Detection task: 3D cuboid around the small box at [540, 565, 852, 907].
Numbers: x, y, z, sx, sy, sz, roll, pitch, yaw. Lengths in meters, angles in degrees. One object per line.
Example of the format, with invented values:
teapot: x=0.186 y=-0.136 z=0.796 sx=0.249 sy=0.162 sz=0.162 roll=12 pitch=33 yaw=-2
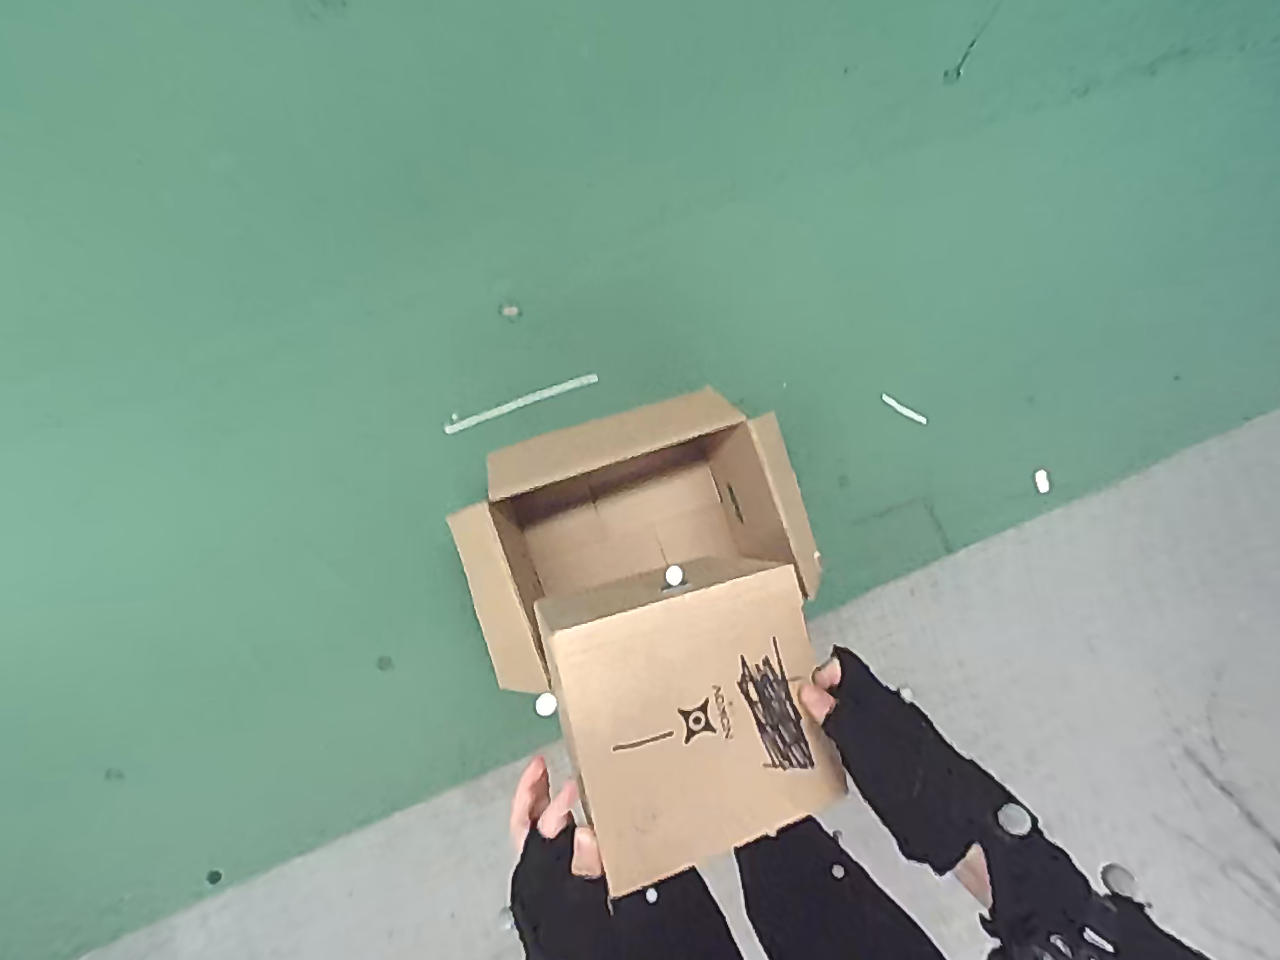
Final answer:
small box: x=0.027 y=0.167 z=0.425 sx=0.179 sy=0.176 sz=0.168 roll=-12 pitch=87 yaw=-14
